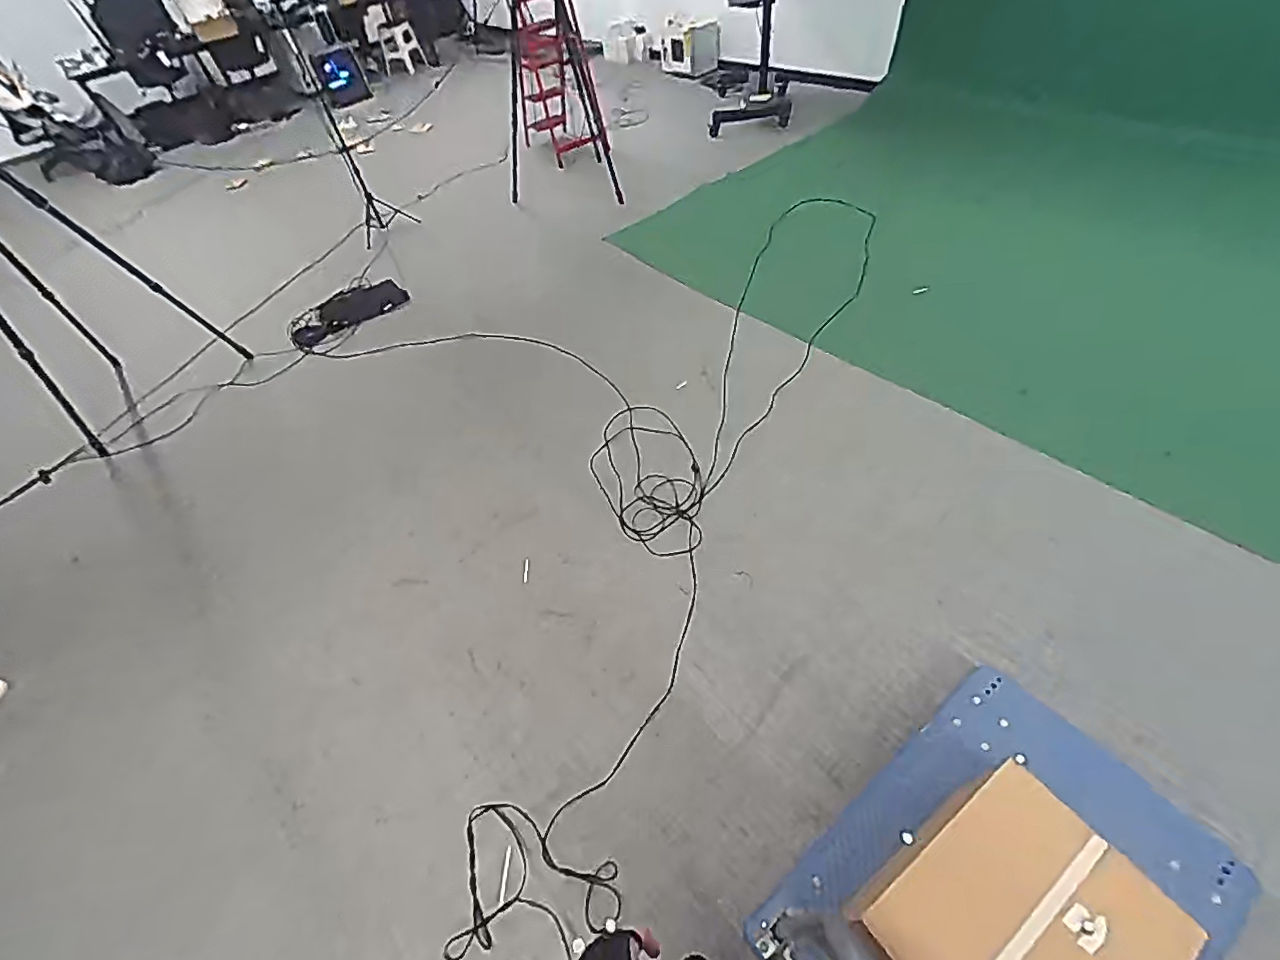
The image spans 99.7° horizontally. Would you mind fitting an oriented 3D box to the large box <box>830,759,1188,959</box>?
[{"bbox_3d":[0.608,0.797,0.960,0.408,0.320,0.320,-31,54,-18],"label":"large box"}]
